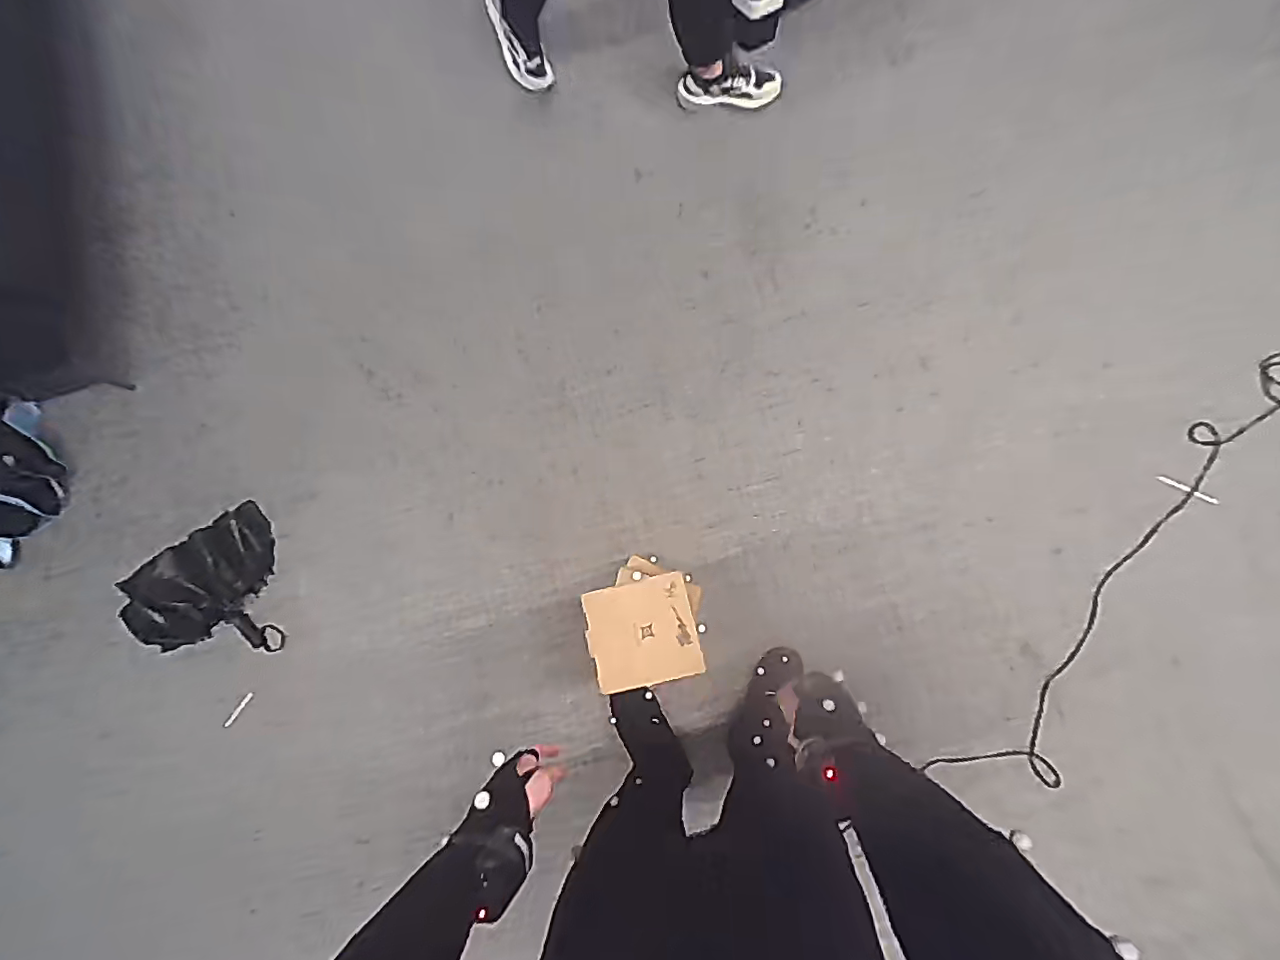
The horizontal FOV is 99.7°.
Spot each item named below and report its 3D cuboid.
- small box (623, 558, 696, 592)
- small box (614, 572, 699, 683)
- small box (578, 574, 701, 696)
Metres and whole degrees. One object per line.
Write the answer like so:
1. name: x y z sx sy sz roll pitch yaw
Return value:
1. small box: 0.024 0.300 1.280 0.179 0.176 0.168 26 84 9
2. small box: 0.020 0.294 1.114 0.168 0.176 0.179 13 82 8
3. small box: 0.006 0.267 0.953 0.179 0.176 0.168 -14 79 4
